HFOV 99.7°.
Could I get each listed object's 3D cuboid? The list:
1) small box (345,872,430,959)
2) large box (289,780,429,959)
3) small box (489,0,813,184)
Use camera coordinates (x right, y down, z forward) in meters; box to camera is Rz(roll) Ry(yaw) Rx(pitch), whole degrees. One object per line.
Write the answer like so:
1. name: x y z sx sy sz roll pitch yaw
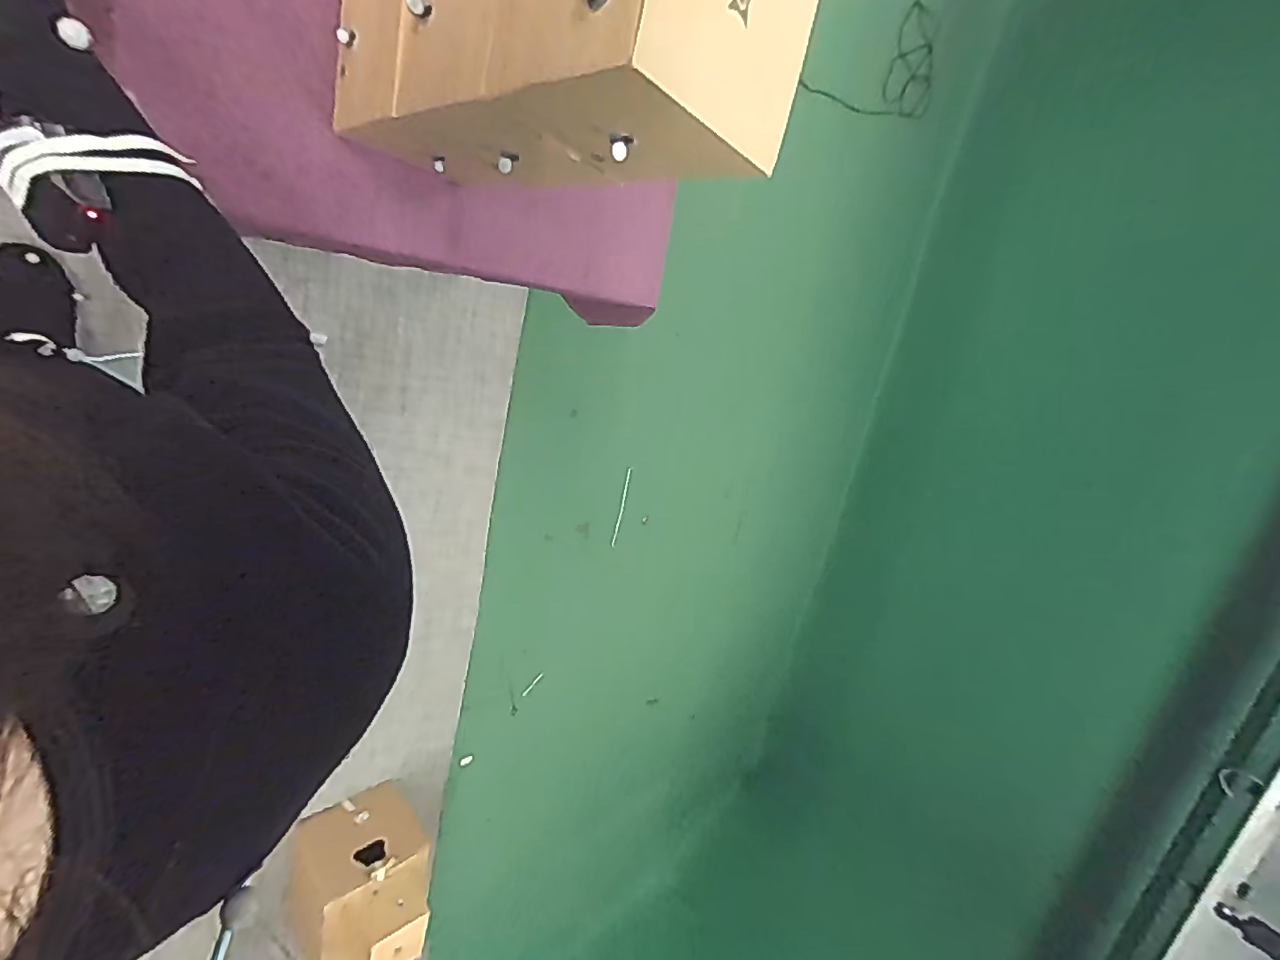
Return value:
1. small box: -0.745 1.303 1.587 0.168 0.176 0.179 0 110 -48
2. large box: -0.927 1.303 1.773 0.320 0.320 0.408 -5 114 -48
3. small box: 0.007 -0.345 0.409 0.168 0.176 0.179 -1 108 -48
